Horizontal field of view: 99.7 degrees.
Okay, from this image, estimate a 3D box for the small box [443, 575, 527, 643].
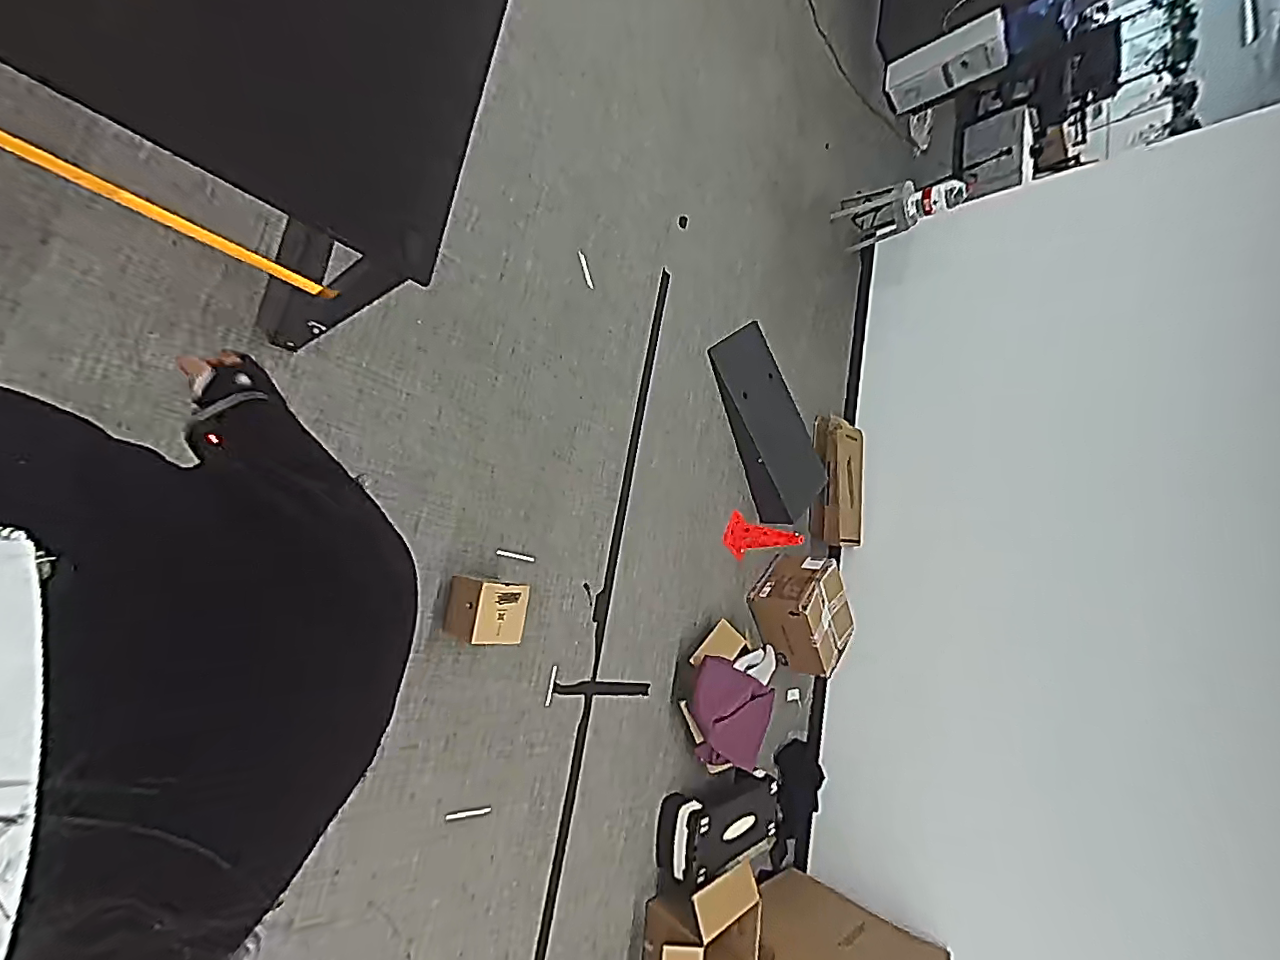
[{"bbox_3d":[-0.468,0.386,1.625,0.168,0.176,0.179,18,77,-45],"label":"small box"}]
